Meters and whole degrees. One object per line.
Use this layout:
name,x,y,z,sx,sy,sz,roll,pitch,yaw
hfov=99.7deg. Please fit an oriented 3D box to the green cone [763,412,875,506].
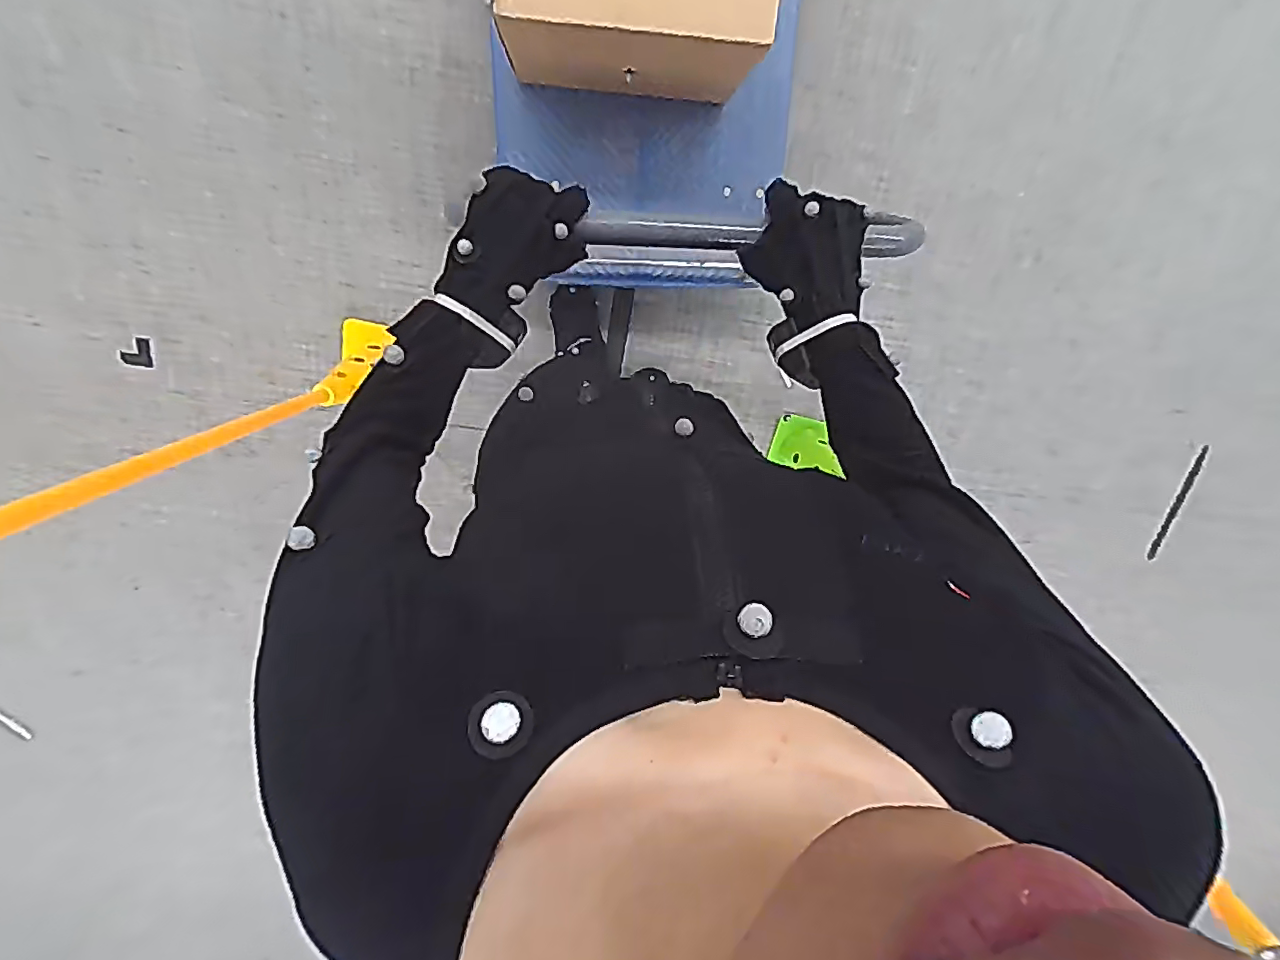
green cone,0.480,-0.021,1.368,0.202,0.368,0.200,11,109,-11

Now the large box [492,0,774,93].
large box,-0.010,-0.843,0.852,0.408,0.320,0.320,2,111,-5
